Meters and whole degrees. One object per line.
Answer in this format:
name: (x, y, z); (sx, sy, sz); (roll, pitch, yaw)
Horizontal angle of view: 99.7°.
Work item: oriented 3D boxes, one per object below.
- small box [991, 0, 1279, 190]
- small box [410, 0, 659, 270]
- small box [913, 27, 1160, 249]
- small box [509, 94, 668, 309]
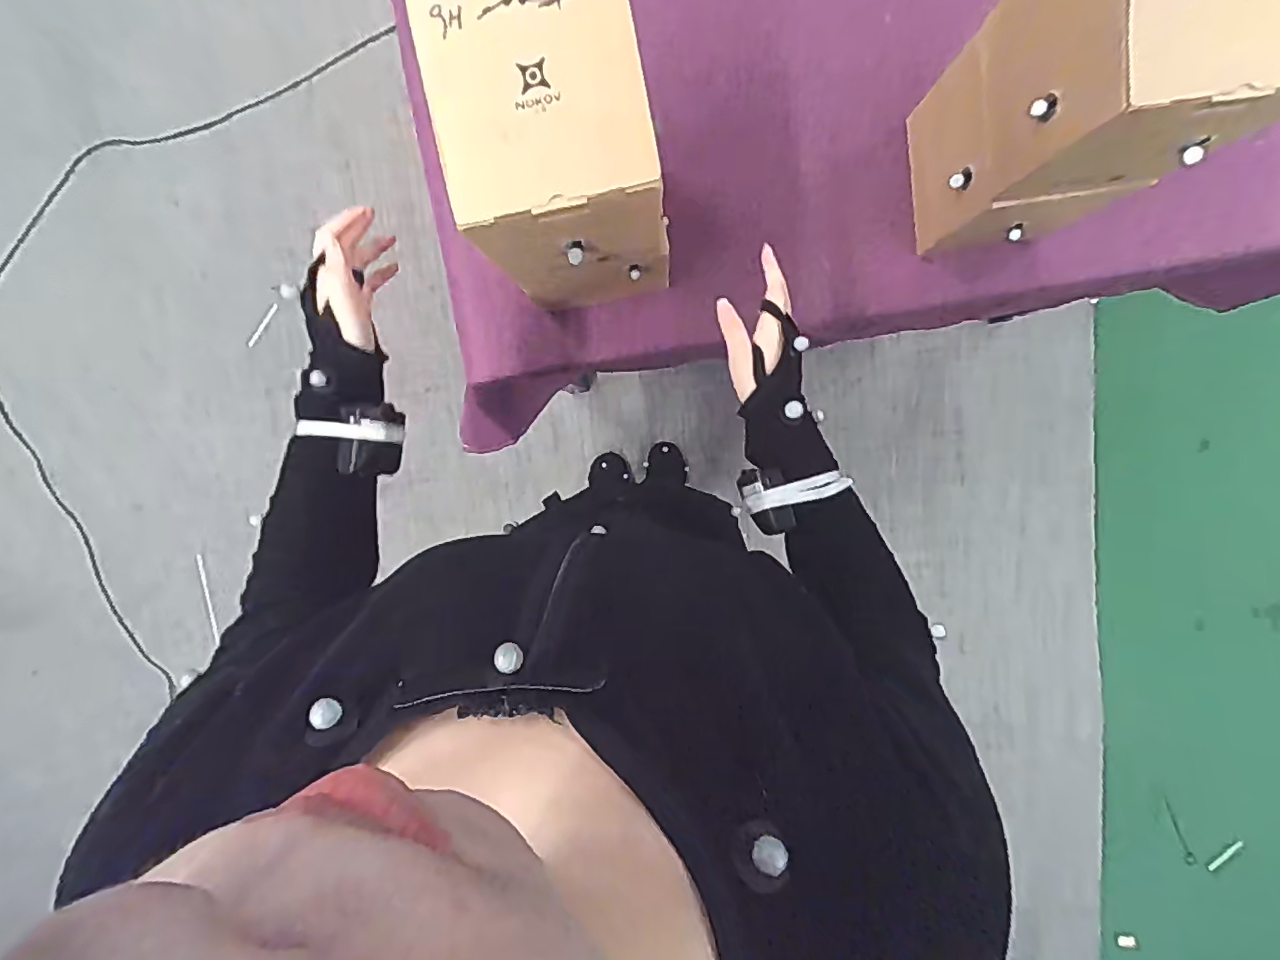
small box: (0.426, -0.367, 0.456); (0.168, 0.176, 0.179); (-5, 95, 3)
small box: (-0.076, -0.304, 0.489); (0.168, 0.176, 0.179); (-10, 95, 3)
small box: (0.435, -0.380, 0.618); (0.168, 0.176, 0.179); (-7, 95, 3)
small box: (-0.063, -0.318, 0.652); (0.179, 0.176, 0.168); (-10, 95, 3)
